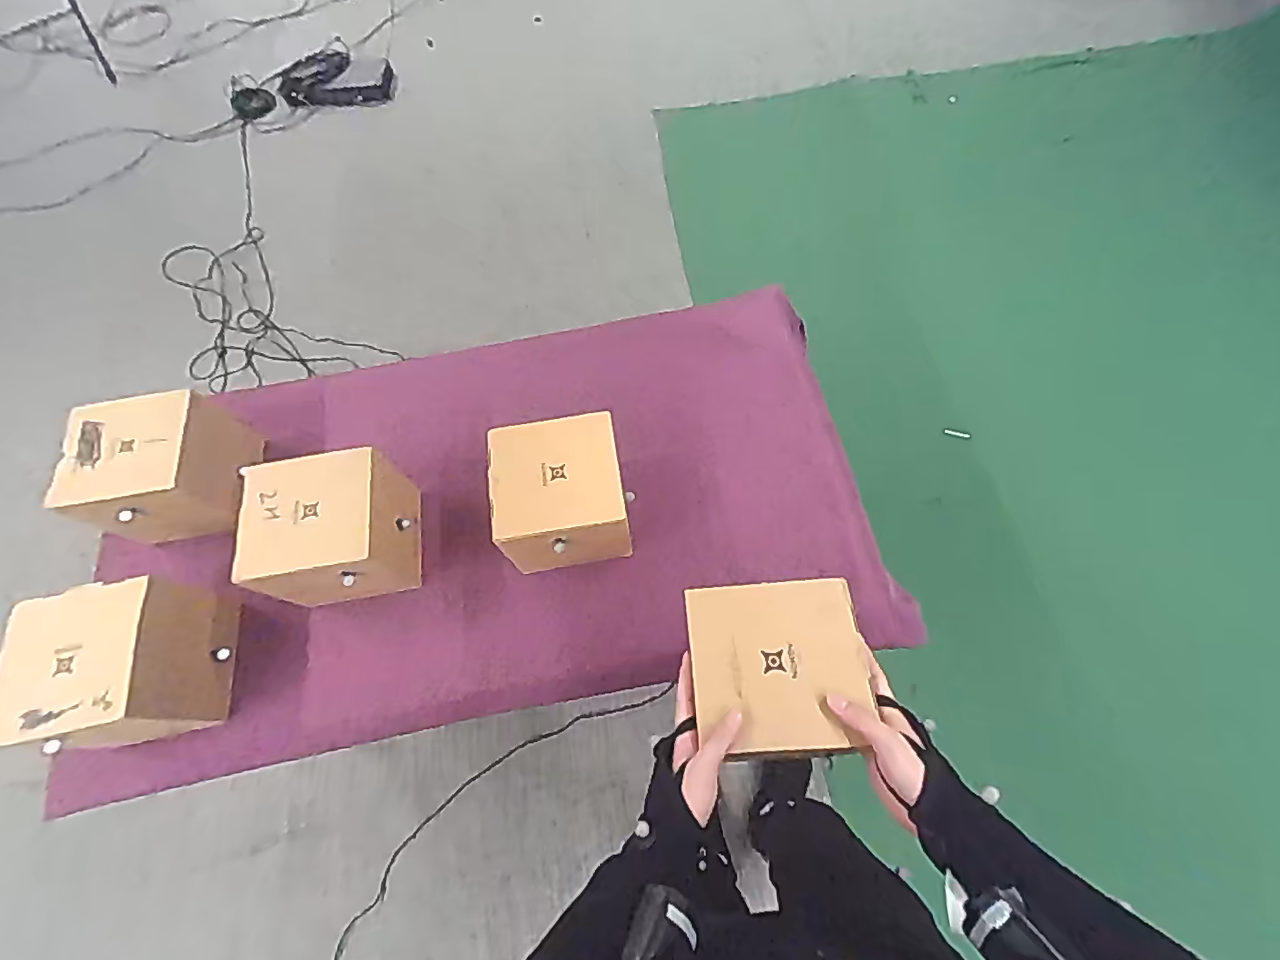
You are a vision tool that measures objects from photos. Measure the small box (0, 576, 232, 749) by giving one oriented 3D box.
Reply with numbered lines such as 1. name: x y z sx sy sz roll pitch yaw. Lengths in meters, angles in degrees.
1. small box: -0.681 0.245 0.710 0.168 0.176 0.179 -12 65 -3

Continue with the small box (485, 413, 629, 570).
1. small box: -0.112 0.024 0.787 0.179 0.176 0.168 -10 67 -1

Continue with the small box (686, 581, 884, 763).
1. small box: 0.146 0.222 0.610 0.179 0.176 0.168 -5 59 5

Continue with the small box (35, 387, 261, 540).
1. small box: -0.730 -0.017 0.827 0.179 0.176 0.168 -9 67 -3

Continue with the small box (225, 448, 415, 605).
1. small box: -0.439 0.073 0.776 0.179 0.176 0.168 -9 66 -2
